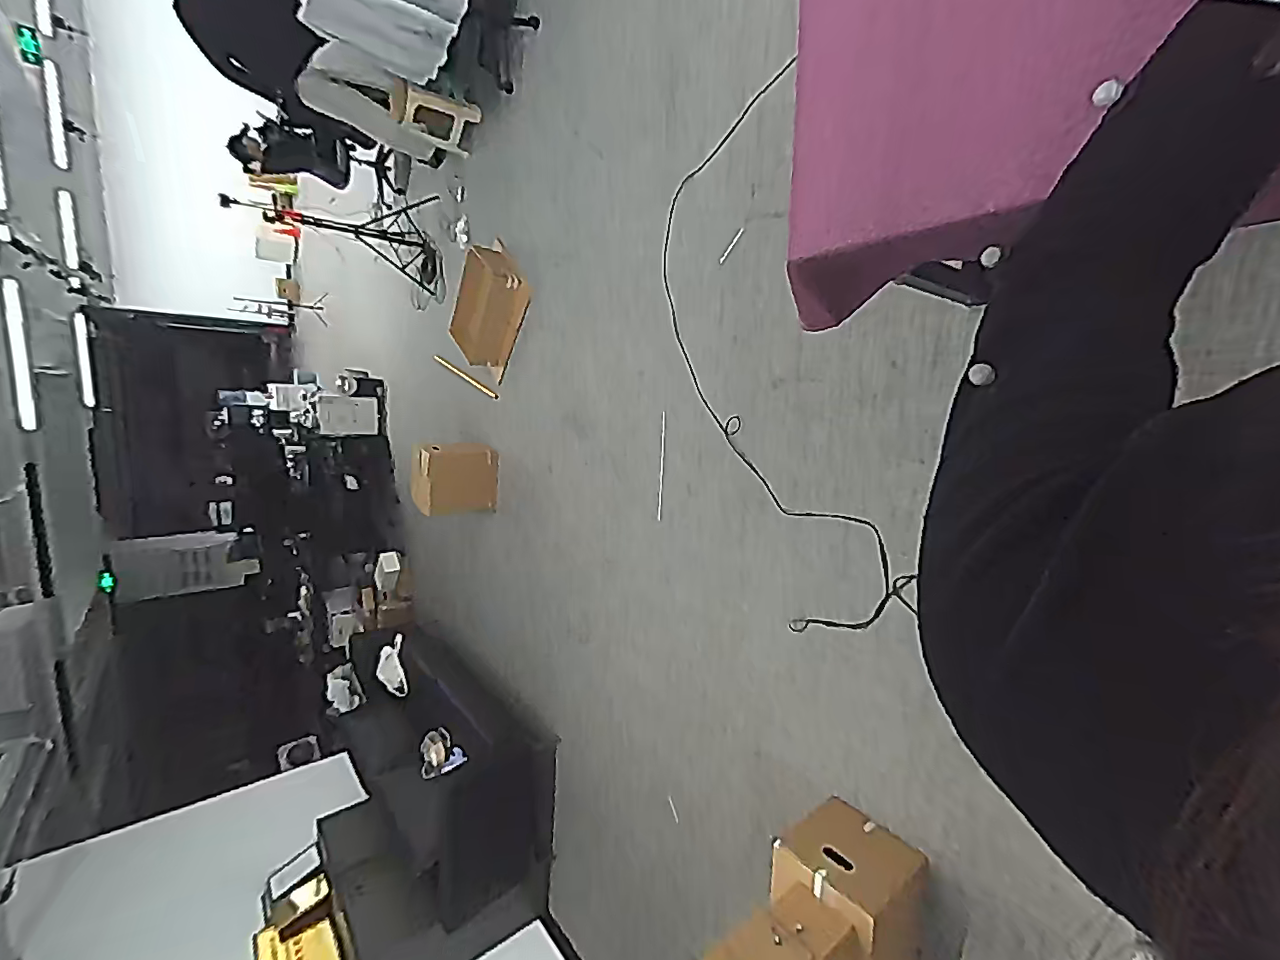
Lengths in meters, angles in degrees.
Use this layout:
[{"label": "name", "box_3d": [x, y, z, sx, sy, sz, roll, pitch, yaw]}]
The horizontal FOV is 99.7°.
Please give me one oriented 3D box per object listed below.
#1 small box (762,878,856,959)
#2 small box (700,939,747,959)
[{"label": "small box", "box_3d": [0.452, 1.219, 1.448, 0.179, 0.176, 0.168, 10, 102, 49]}, {"label": "small box", "box_3d": [0.195, 1.232, 1.241, 0.168, 0.176, 0.179, 15, 104, 48]}]
